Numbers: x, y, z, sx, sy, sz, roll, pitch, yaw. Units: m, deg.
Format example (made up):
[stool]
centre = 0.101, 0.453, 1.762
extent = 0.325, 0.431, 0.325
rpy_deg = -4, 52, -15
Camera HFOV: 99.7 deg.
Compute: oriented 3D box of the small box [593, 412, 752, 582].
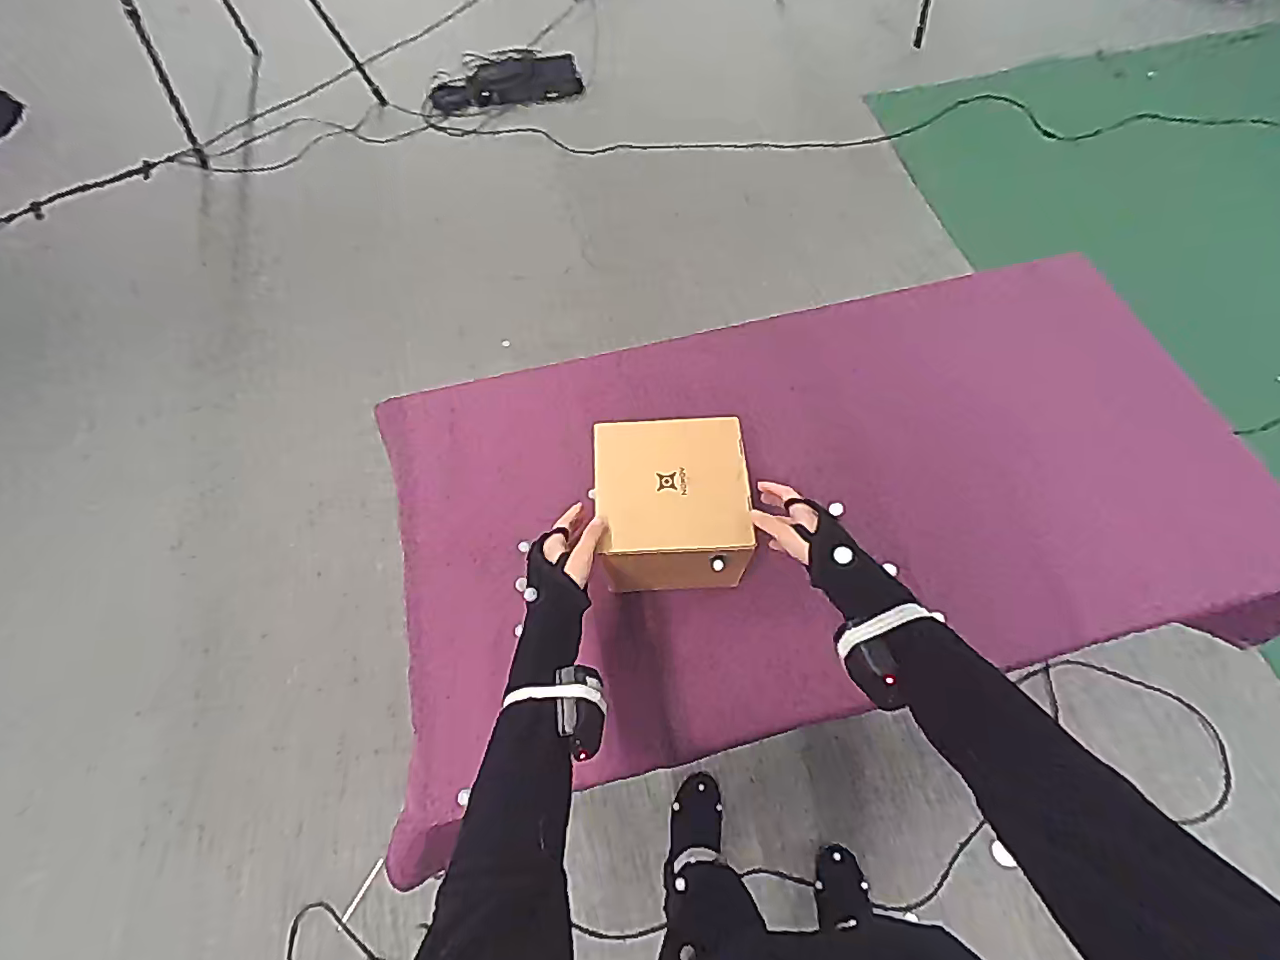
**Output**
[small box]
centre = 0.036, 0.029, 0.701
extent = 0.179, 0.176, 0.168
rpy_deg = -4, 64, -1
